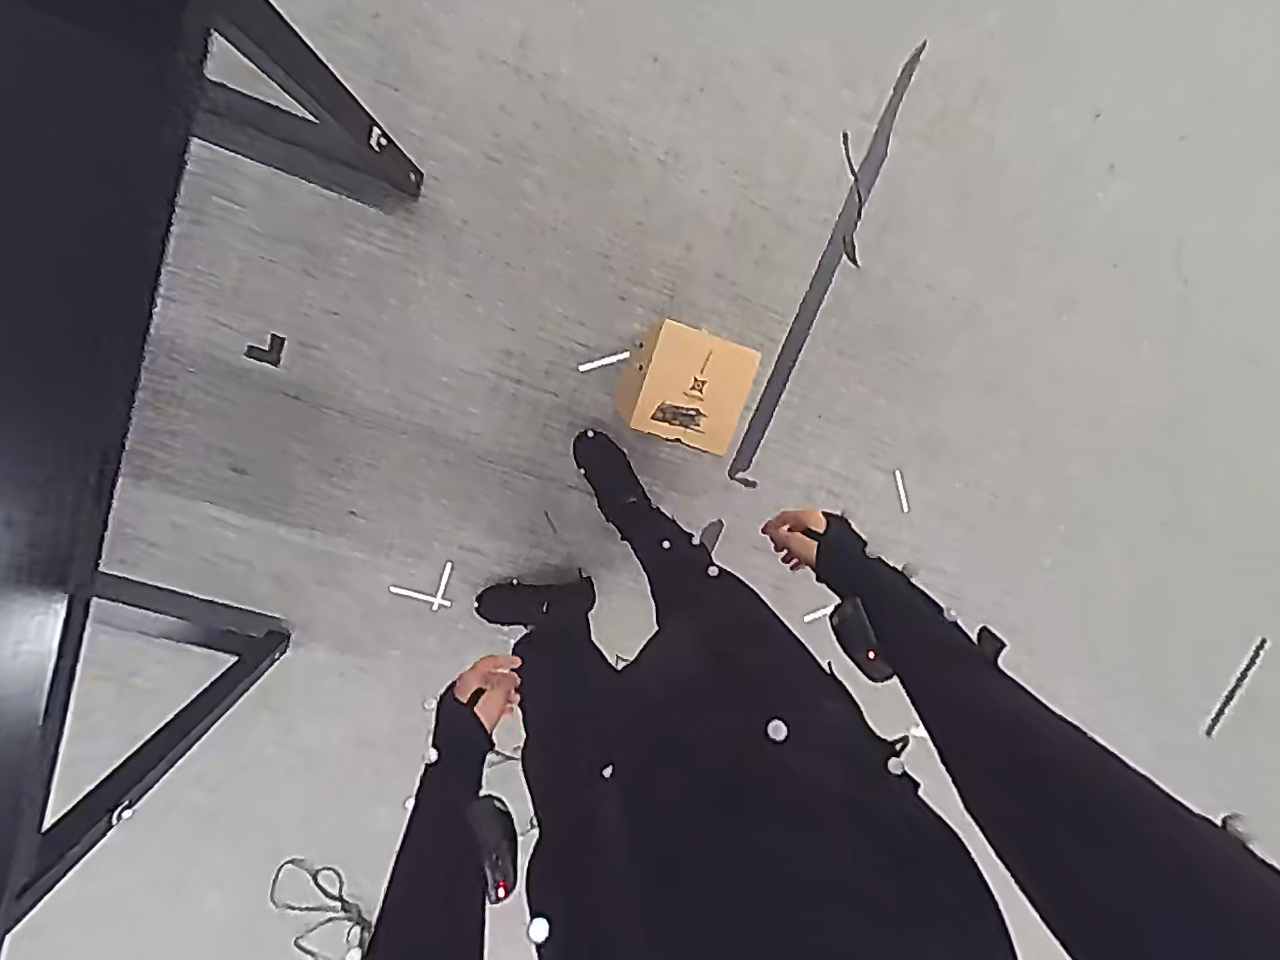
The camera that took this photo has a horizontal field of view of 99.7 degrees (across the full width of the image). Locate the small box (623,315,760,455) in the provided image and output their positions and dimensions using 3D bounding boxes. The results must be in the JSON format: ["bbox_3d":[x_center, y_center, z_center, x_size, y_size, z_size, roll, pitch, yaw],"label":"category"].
[{"bbox_3d":[0.075,-0.160,0.910,0.168,0.176,0.179,17,100,-11],"label":"small box"}]

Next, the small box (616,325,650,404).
[{"bbox_3d":[0.049,-0.237,1.229,0.168,0.176,0.179,18,101,-10],"label":"small box"}]
